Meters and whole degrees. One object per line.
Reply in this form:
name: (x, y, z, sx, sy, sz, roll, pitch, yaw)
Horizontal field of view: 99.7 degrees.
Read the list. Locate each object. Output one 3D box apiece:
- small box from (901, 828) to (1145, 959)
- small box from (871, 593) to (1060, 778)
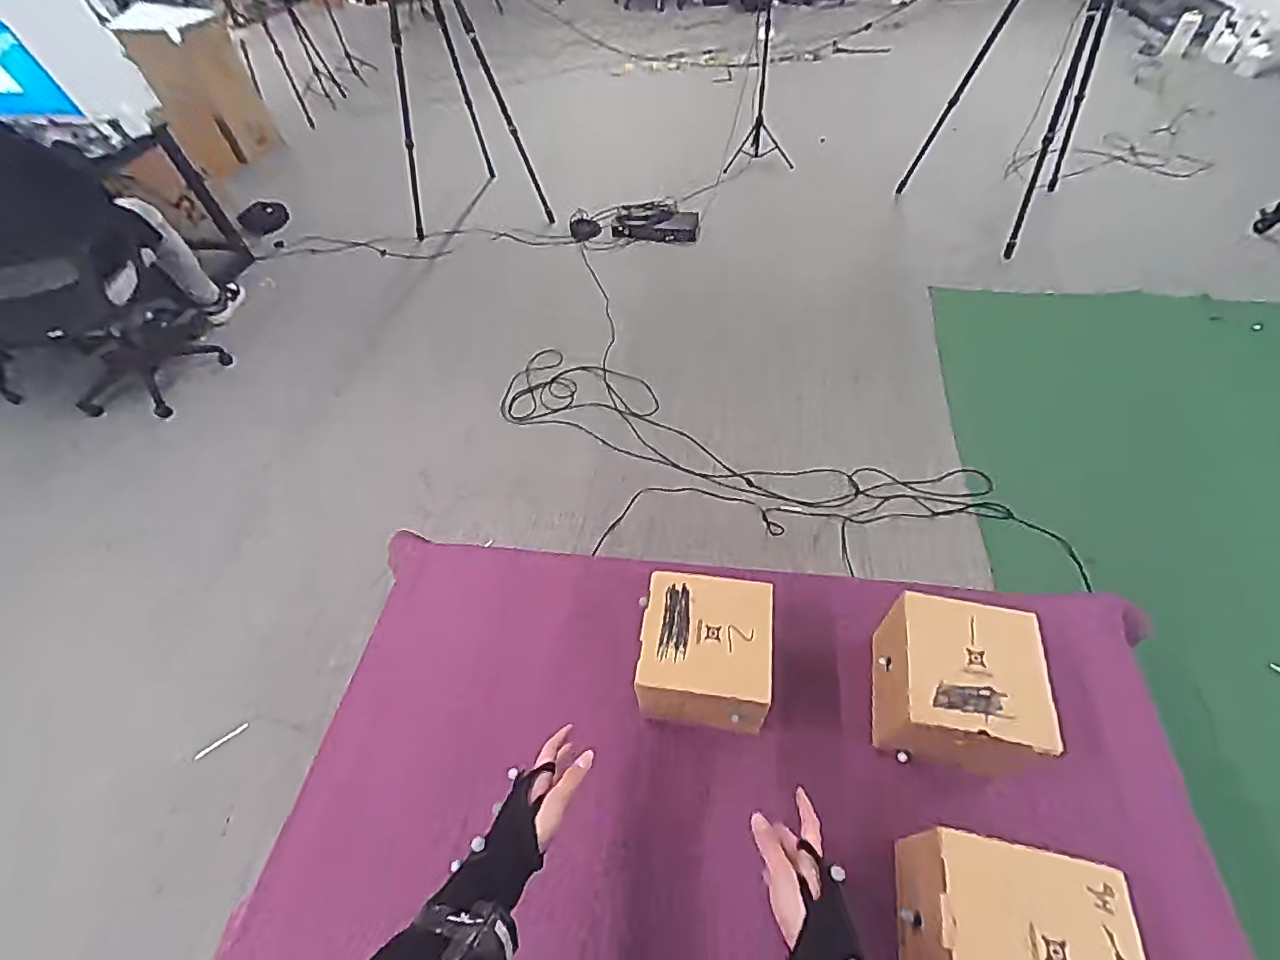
small box: (0.386, 0.495, 0.570, 0.179, 0.176, 0.168, 8, 52, 12)
small box: (0.422, 0.282, 0.735, 0.168, 0.176, 0.179, 9, 53, 12)
